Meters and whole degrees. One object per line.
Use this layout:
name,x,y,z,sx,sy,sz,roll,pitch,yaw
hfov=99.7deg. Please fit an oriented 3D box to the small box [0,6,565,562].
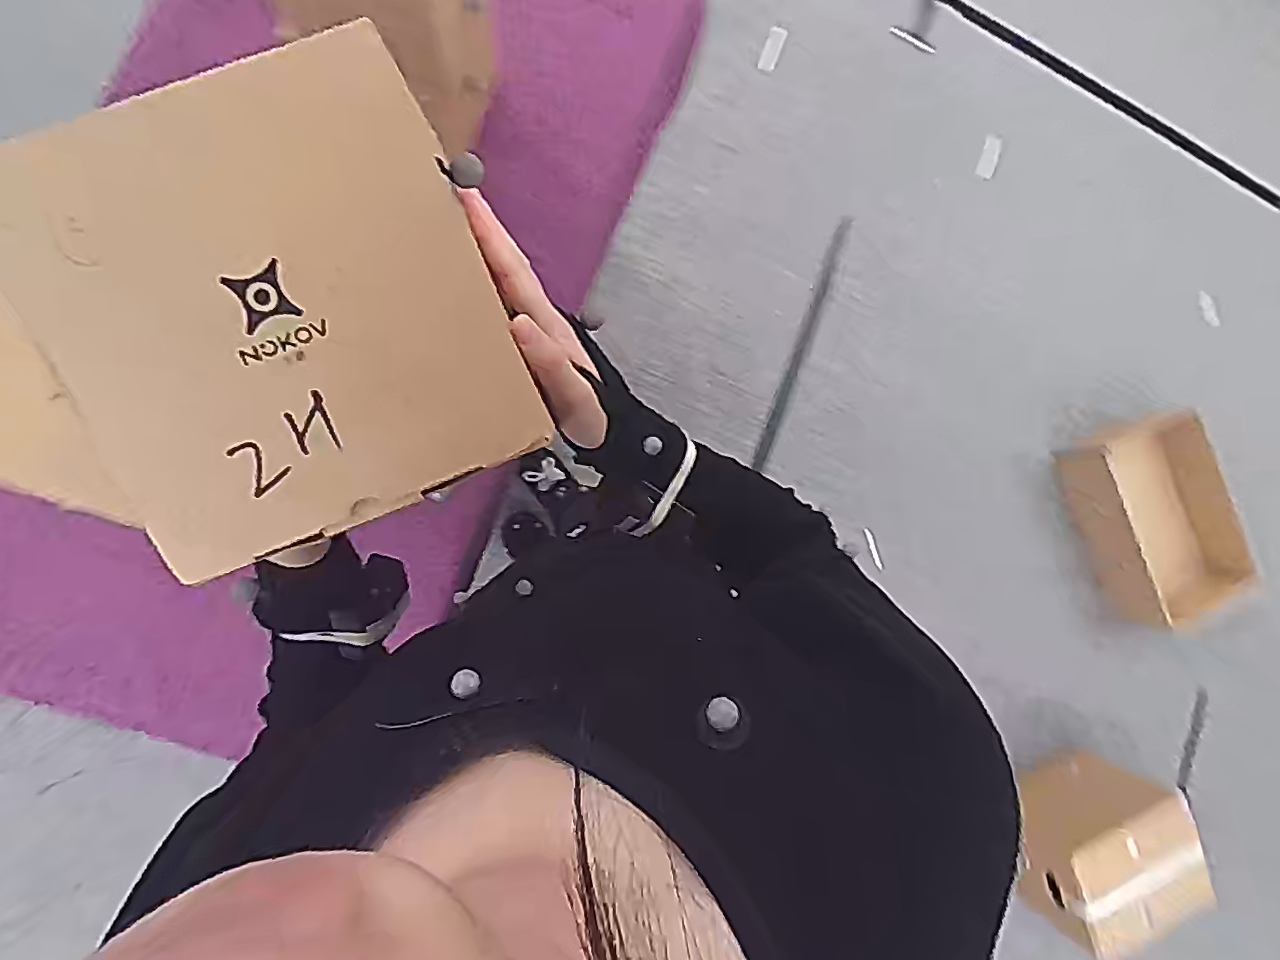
small box,-0.147,-0.083,0.291,0.168,0.176,0.179,-21,101,-3
